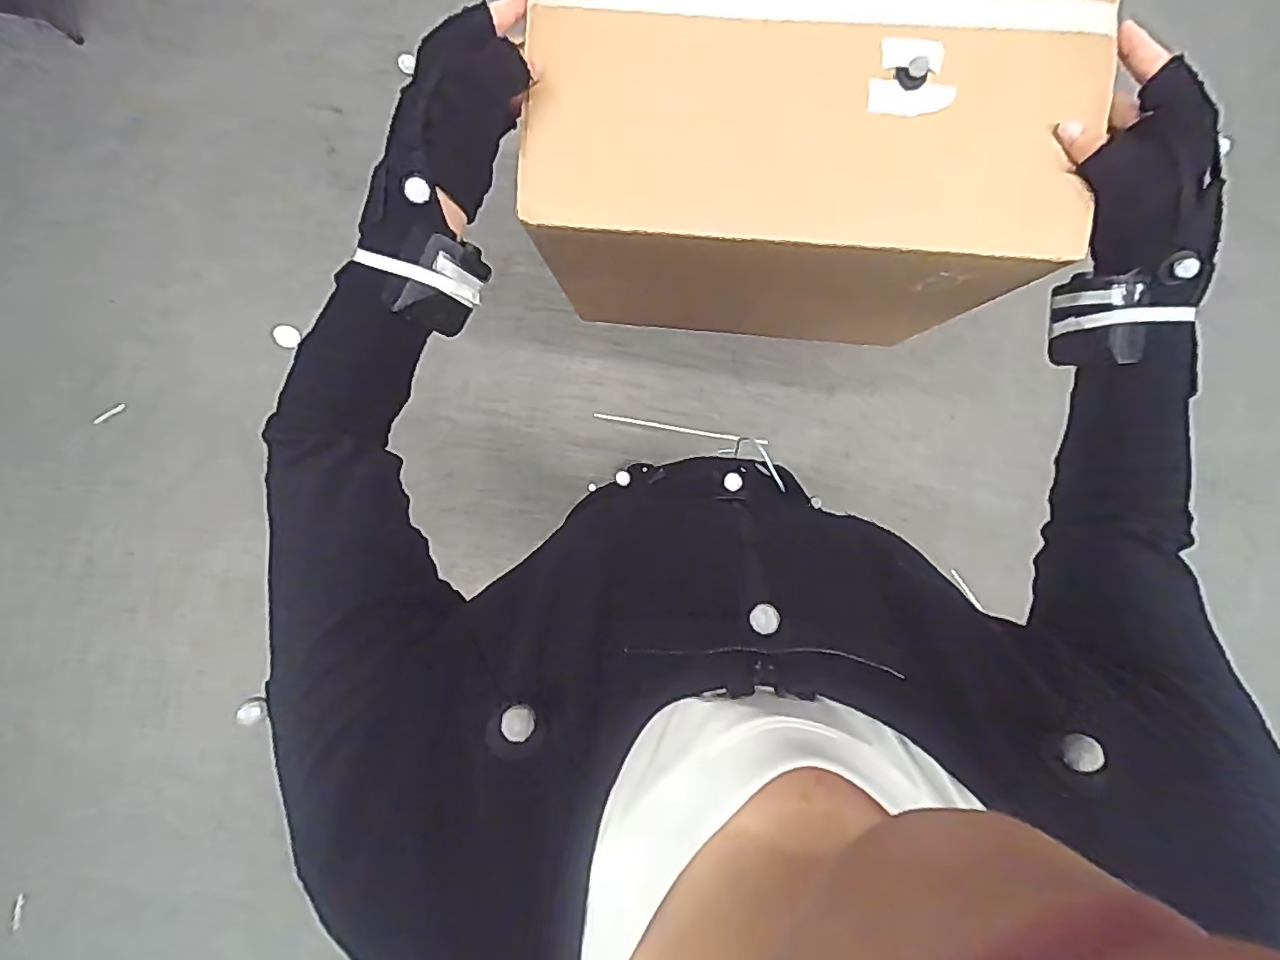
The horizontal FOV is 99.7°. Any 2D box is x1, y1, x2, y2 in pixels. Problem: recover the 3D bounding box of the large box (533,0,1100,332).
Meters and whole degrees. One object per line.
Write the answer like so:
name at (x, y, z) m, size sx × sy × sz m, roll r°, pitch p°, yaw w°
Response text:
large box at (0.127, -0.342, 0.536) m, size 0.408 × 0.320 × 0.320 m, roll 4°, pitch 94°, yaw 1°
